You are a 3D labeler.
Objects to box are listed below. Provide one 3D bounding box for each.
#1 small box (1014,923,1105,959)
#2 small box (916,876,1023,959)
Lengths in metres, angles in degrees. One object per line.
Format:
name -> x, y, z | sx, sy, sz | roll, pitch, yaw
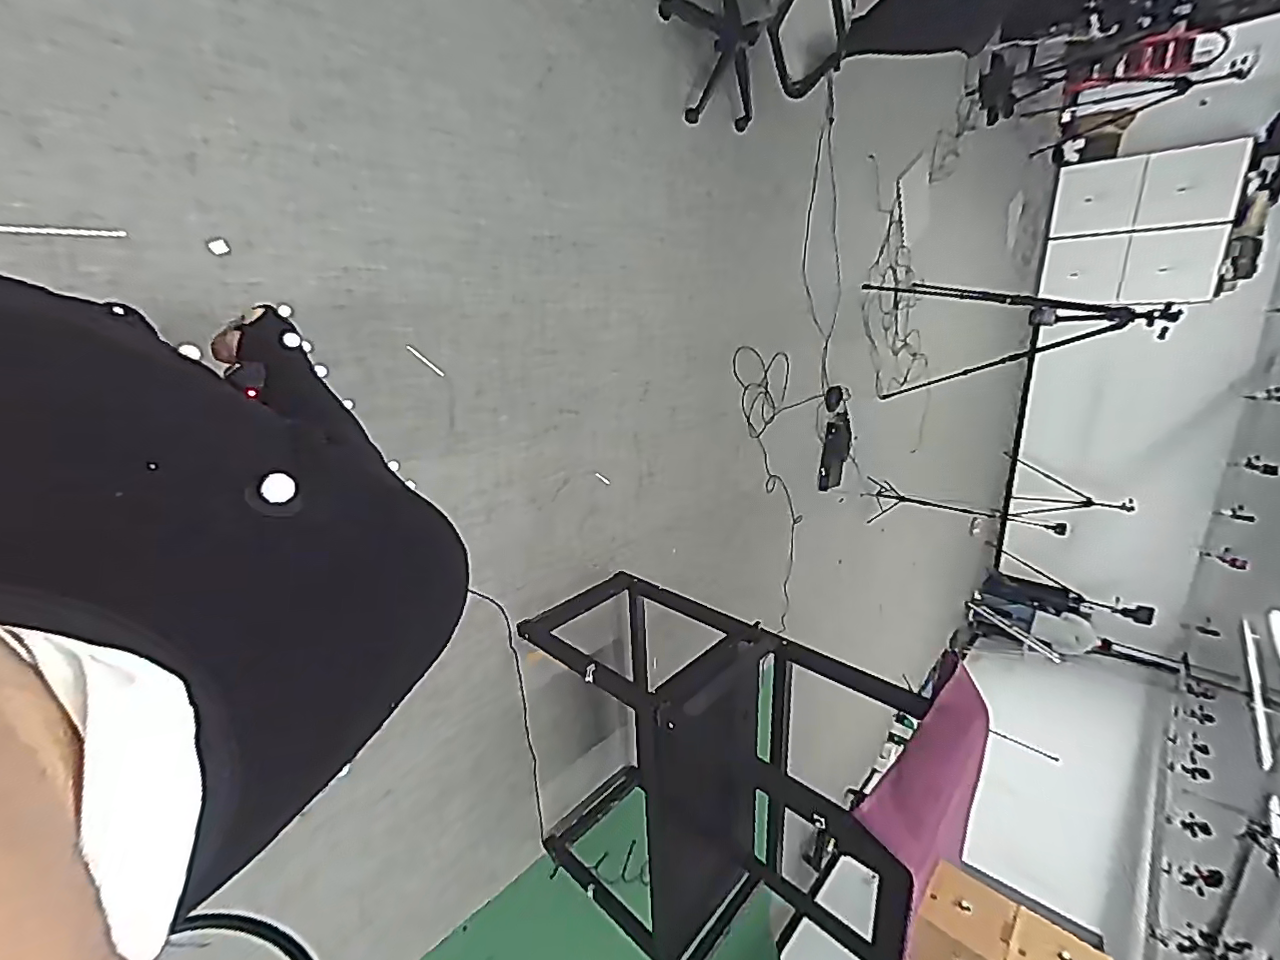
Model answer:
small box -> 0.860, 1.074, 1.113 | 0.168, 0.176, 0.179 | -23, 117, -42
small box -> 0.740, 1.047, 1.220 | 0.168, 0.176, 0.179 | -22, 115, -42
